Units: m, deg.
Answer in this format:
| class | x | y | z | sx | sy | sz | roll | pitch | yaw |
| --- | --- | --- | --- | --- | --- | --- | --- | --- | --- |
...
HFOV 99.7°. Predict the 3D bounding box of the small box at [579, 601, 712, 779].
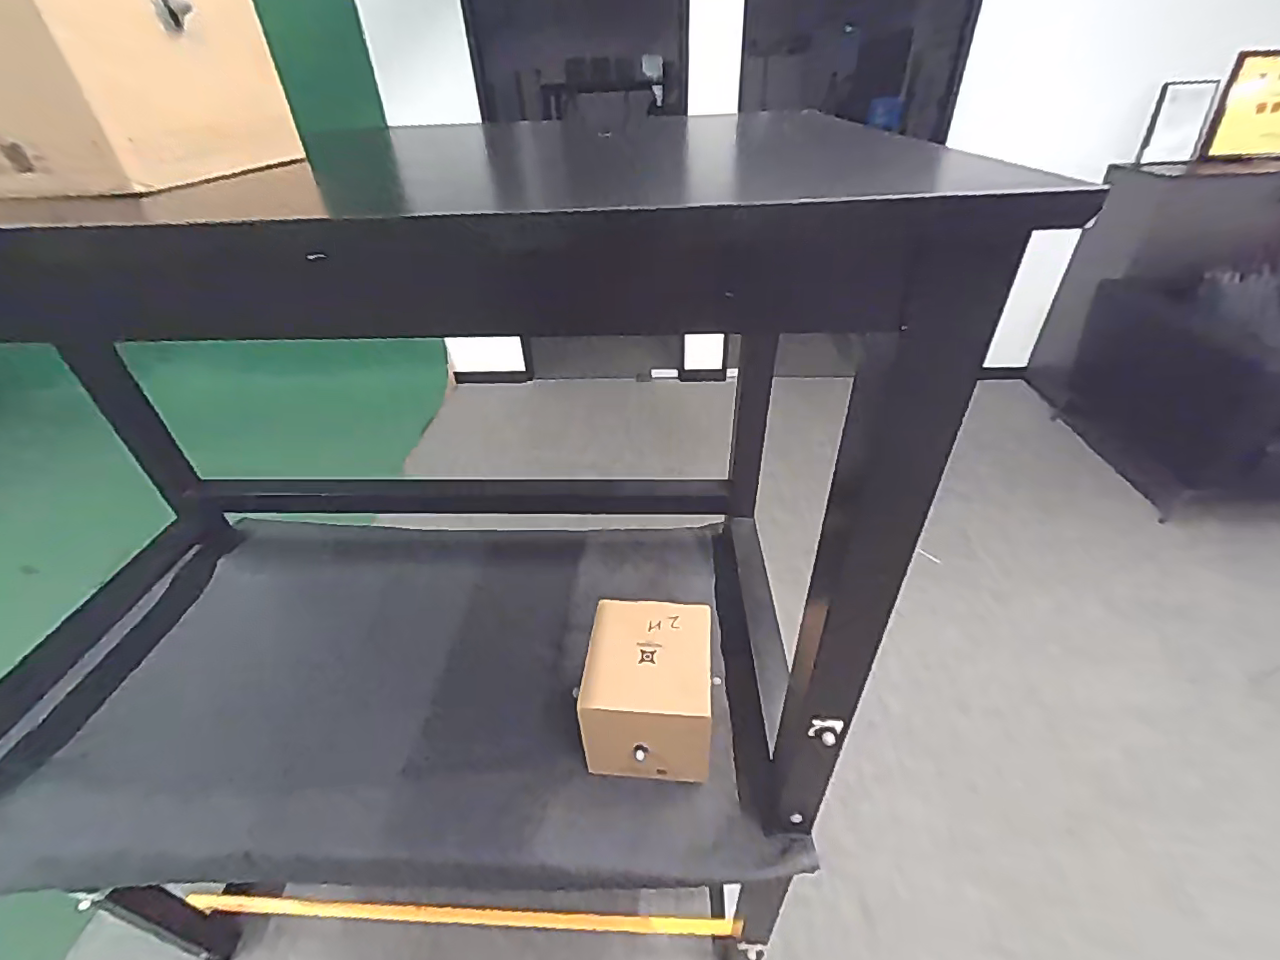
| class | x | y | z | sx | sy | sz | roll | pitch | yaw |
| --- | --- | --- | --- | --- | --- | --- | --- | --- | --- |
| small box | 0.017 | 0.298 | 0.771 | 0.168 | 0.176 | 0.179 | 3 | 36 | 6 |
